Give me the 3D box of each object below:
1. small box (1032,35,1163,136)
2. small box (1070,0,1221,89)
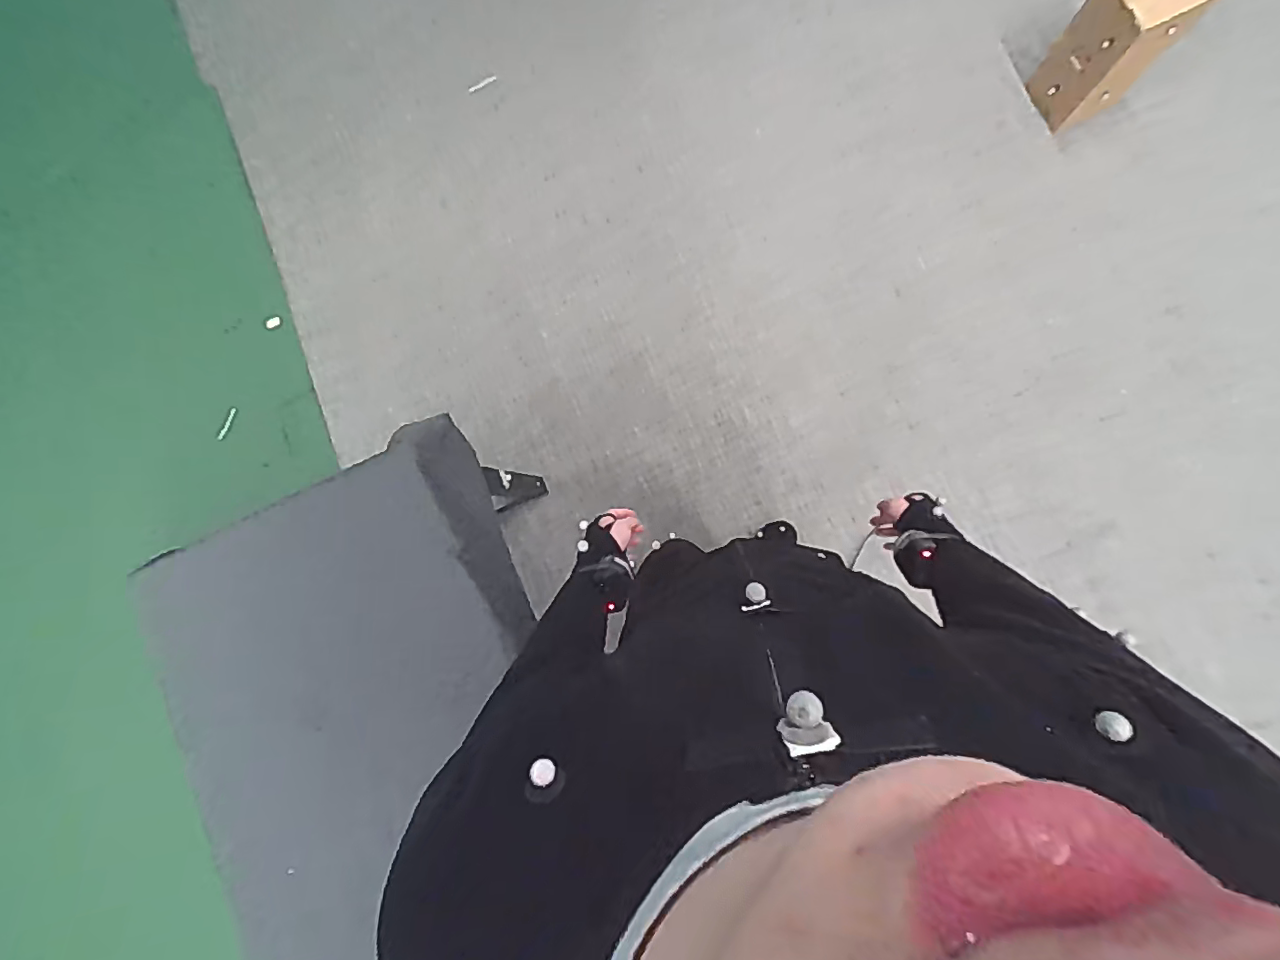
[{"bbox_3d":[1.158,-1.040,1.392,0.179,0.176,0.168,-25,83,7],"label":"small box"},{"bbox_3d":[1.135,-1.050,1.232,0.179,0.176,0.168,-24,84,5],"label":"small box"}]
